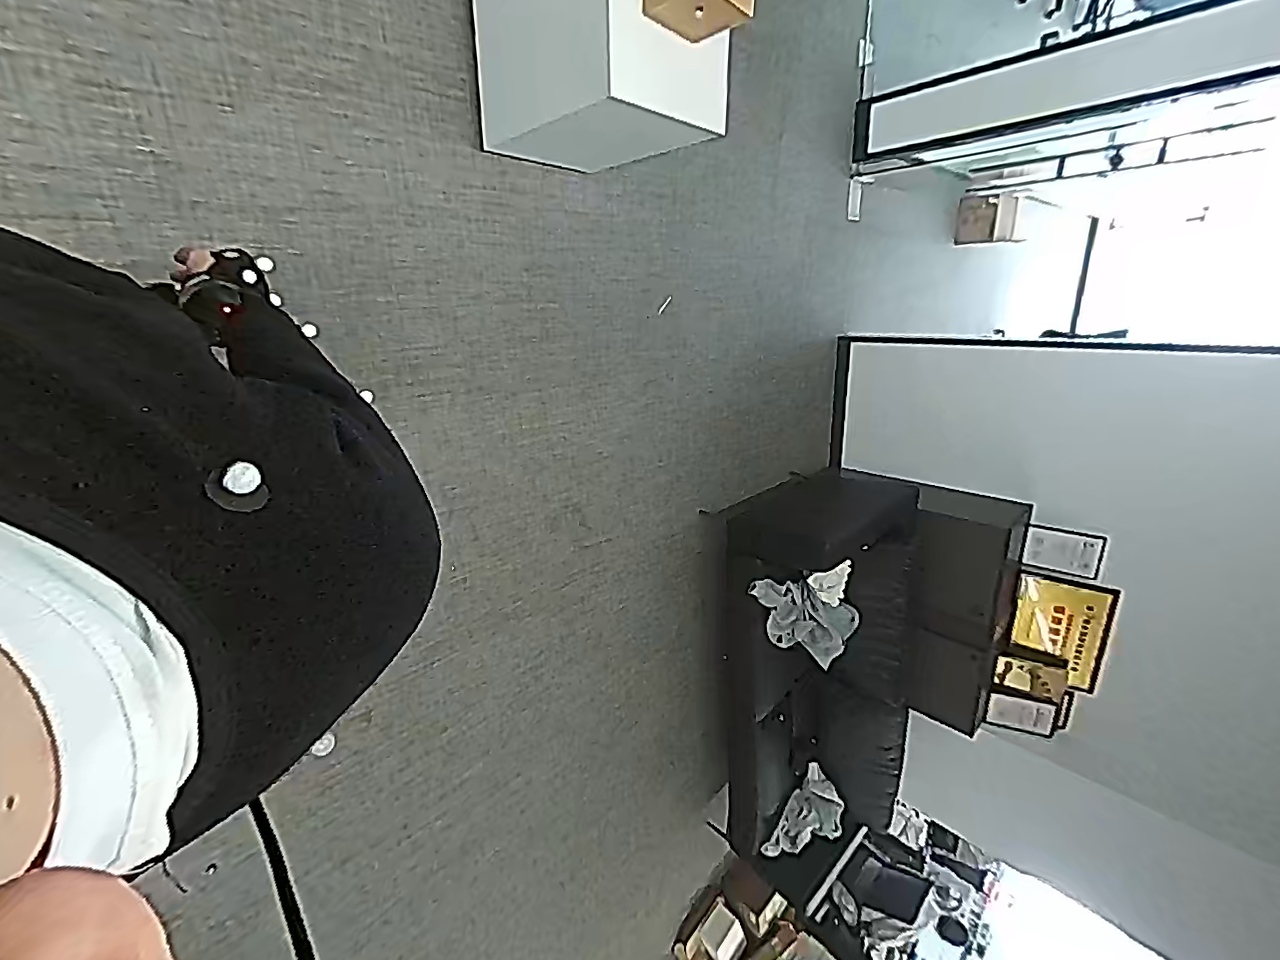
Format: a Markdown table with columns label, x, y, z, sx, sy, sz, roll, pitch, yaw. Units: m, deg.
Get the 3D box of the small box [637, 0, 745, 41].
| label | x | y | z | sx | sy | sz | roll | pitch | yaw |
| --- | --- | --- | --- | --- | --- | --- | --- | --- | --- |
| small box | 0.106 | -1.079 | 1.149 | 0.179 | 0.176 | 0.168 | -17 | 114 | -43 |
